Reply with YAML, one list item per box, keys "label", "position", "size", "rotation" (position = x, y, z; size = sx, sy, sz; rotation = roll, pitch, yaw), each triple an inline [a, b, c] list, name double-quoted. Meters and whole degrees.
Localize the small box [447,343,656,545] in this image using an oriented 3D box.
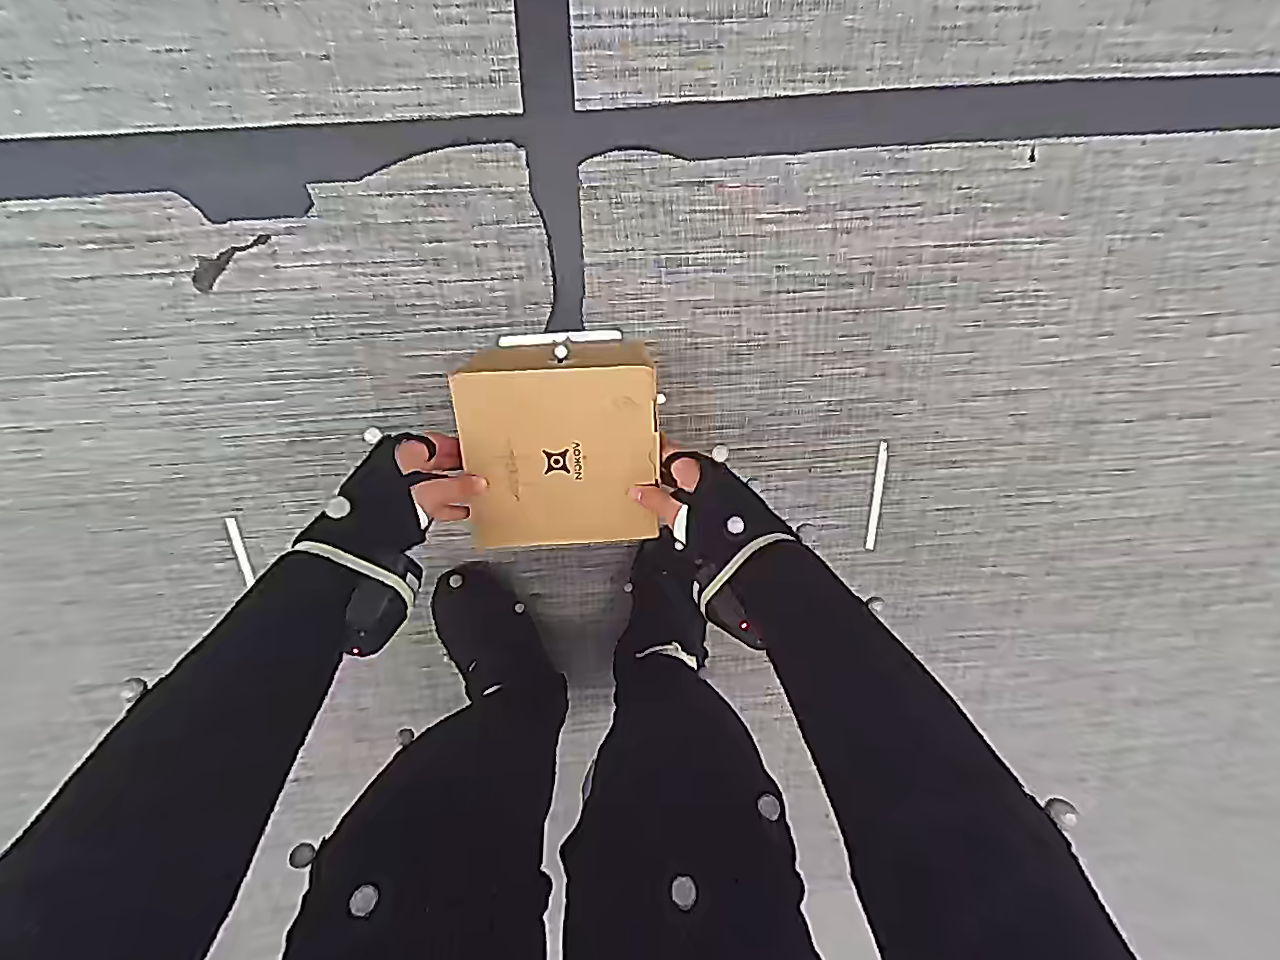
- label: "small box"
  position: [-0.080, -0.048, 0.564]
  size: [0.179, 0.176, 0.168]
  rotation: [-4, 110, -2]
